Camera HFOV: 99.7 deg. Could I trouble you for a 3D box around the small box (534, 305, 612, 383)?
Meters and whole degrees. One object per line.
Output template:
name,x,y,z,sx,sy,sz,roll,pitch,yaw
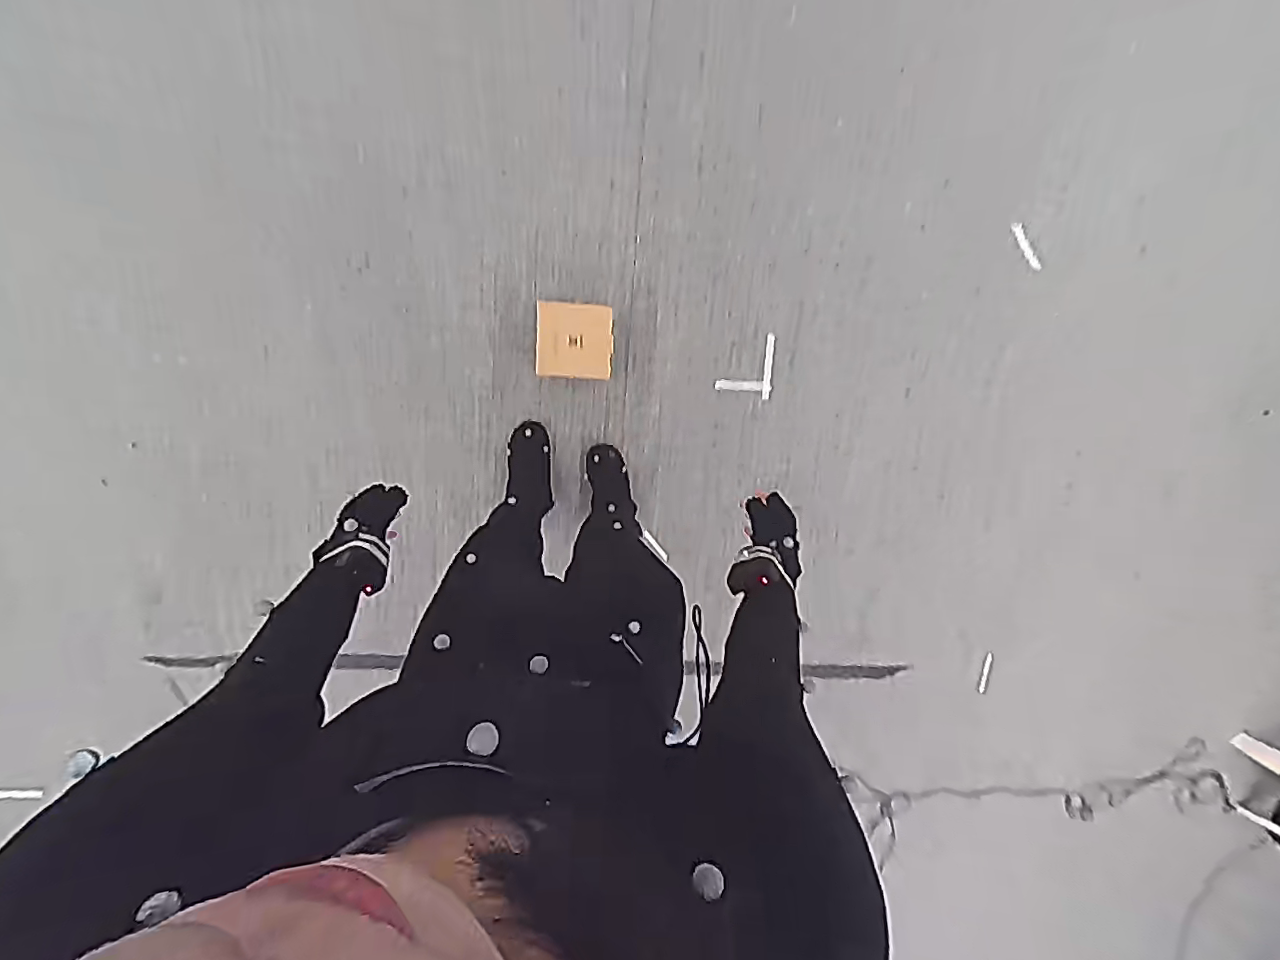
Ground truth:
small box,-0.165,-0.329,1.325,0.179,0.176,0.168,2,101,-8
